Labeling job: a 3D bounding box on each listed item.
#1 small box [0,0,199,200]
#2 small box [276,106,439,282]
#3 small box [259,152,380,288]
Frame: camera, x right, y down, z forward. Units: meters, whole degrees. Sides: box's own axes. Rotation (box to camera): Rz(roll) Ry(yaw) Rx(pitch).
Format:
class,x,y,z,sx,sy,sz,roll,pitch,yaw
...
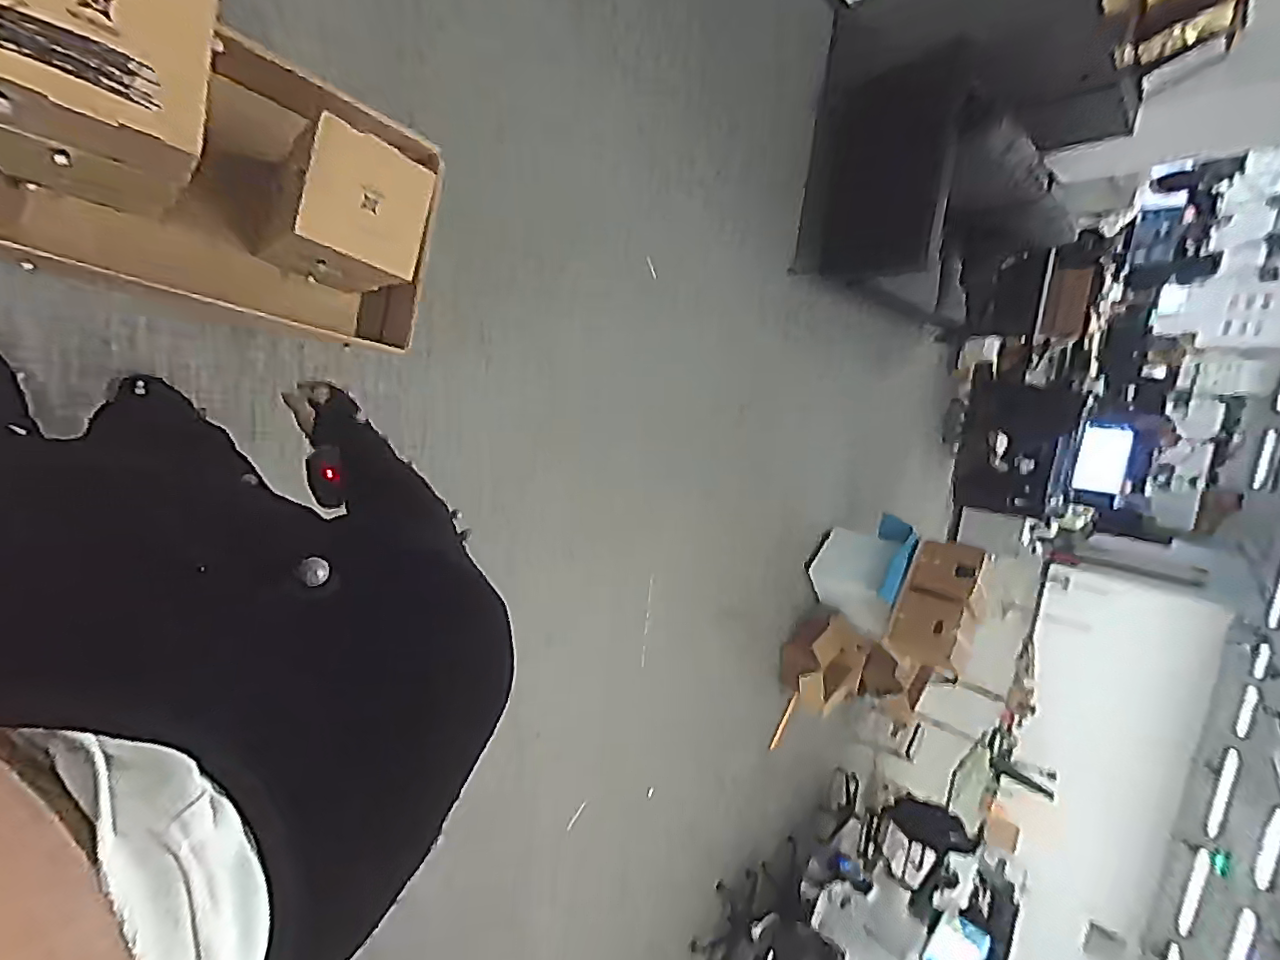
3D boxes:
class,x,y,z,sx,sy,sz,roll,pitch,yaw
small box,-0.646,-0.463,0.639,0.168,0.176,0.179,5,98,-46
small box,-0.446,-0.429,0.847,0.168,0.176,0.179,13,92,-46
small box,-0.556,-0.461,0.965,0.168,0.176,0.179,14,92,-45
